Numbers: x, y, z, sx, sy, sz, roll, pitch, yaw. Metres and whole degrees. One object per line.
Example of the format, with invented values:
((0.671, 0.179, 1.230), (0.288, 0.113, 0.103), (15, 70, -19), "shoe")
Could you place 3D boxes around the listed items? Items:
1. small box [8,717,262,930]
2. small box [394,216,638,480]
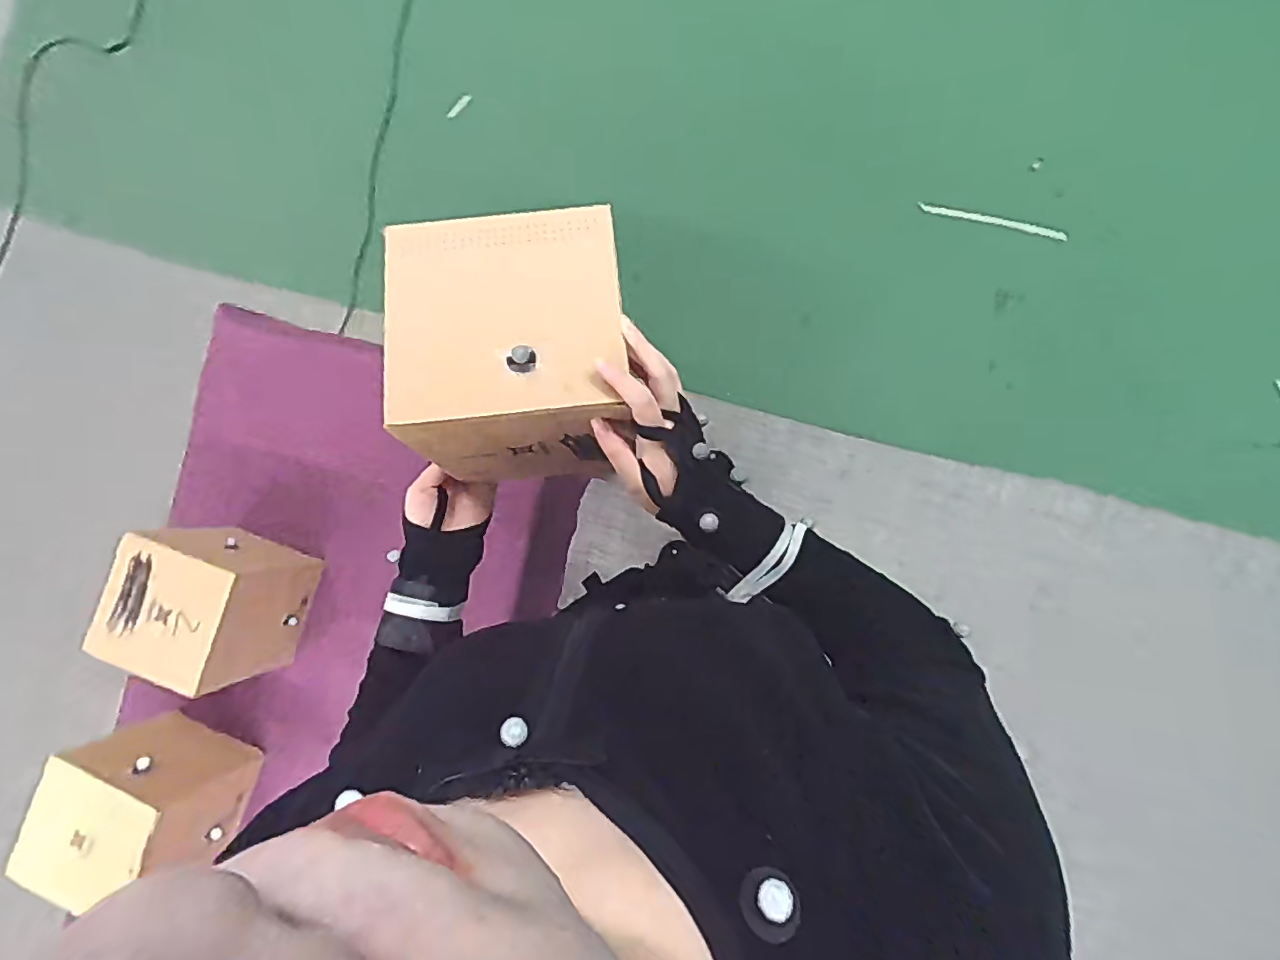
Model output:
((-0.699, 0.465, 0.768), (0.179, 0.176, 0.168), (20, 89, 7), "small box")
((-0.096, -0.106, 0.474), (0.179, 0.168, 0.176), (-4, 76, -1), "small box")
